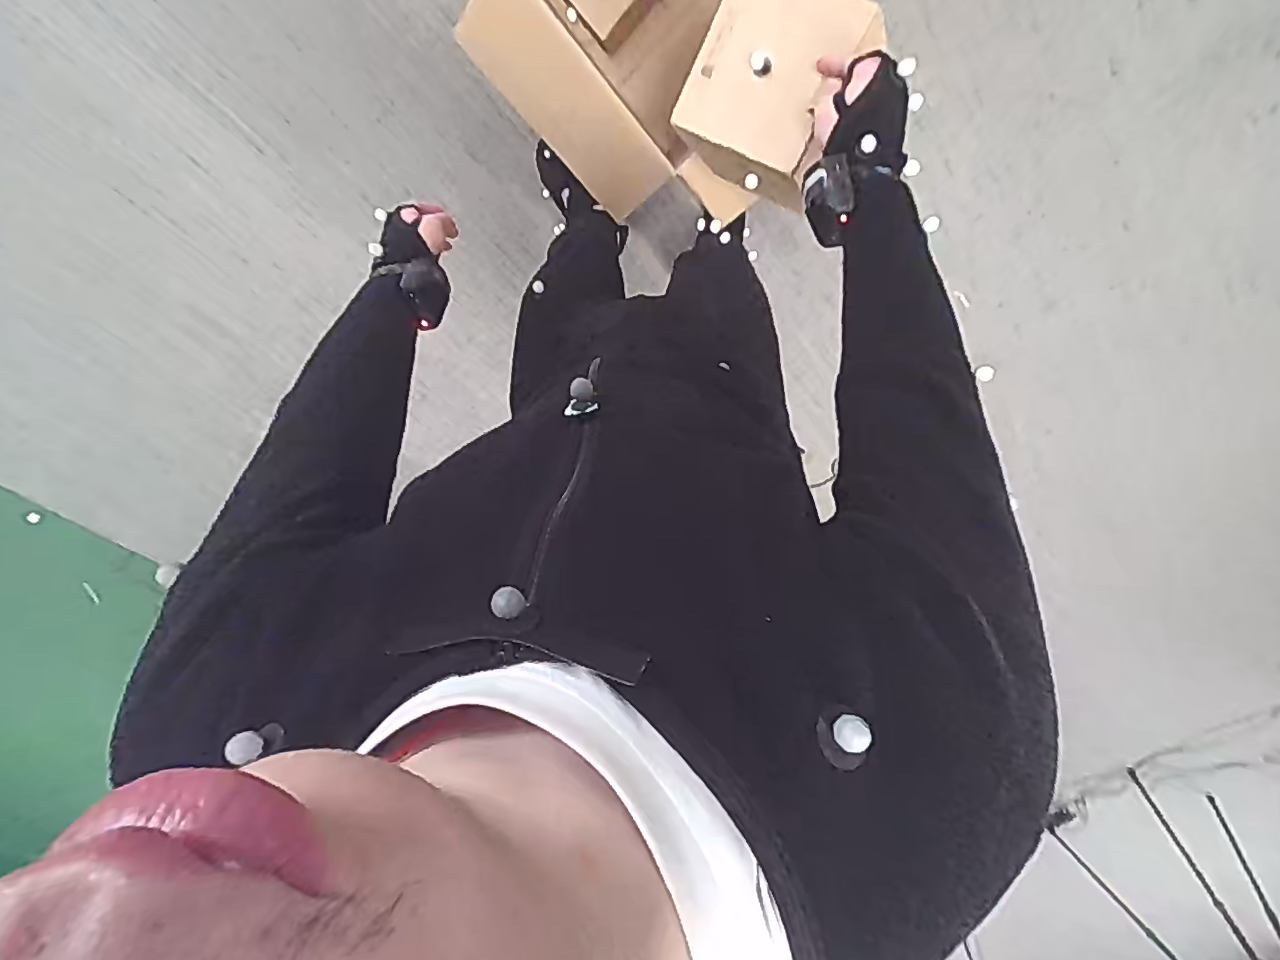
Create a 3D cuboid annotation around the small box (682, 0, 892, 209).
[{"bbox_3d":[0.175,-0.457,0.647,0.176,0.179,0.168,33,114,17],"label":"small box"}]
